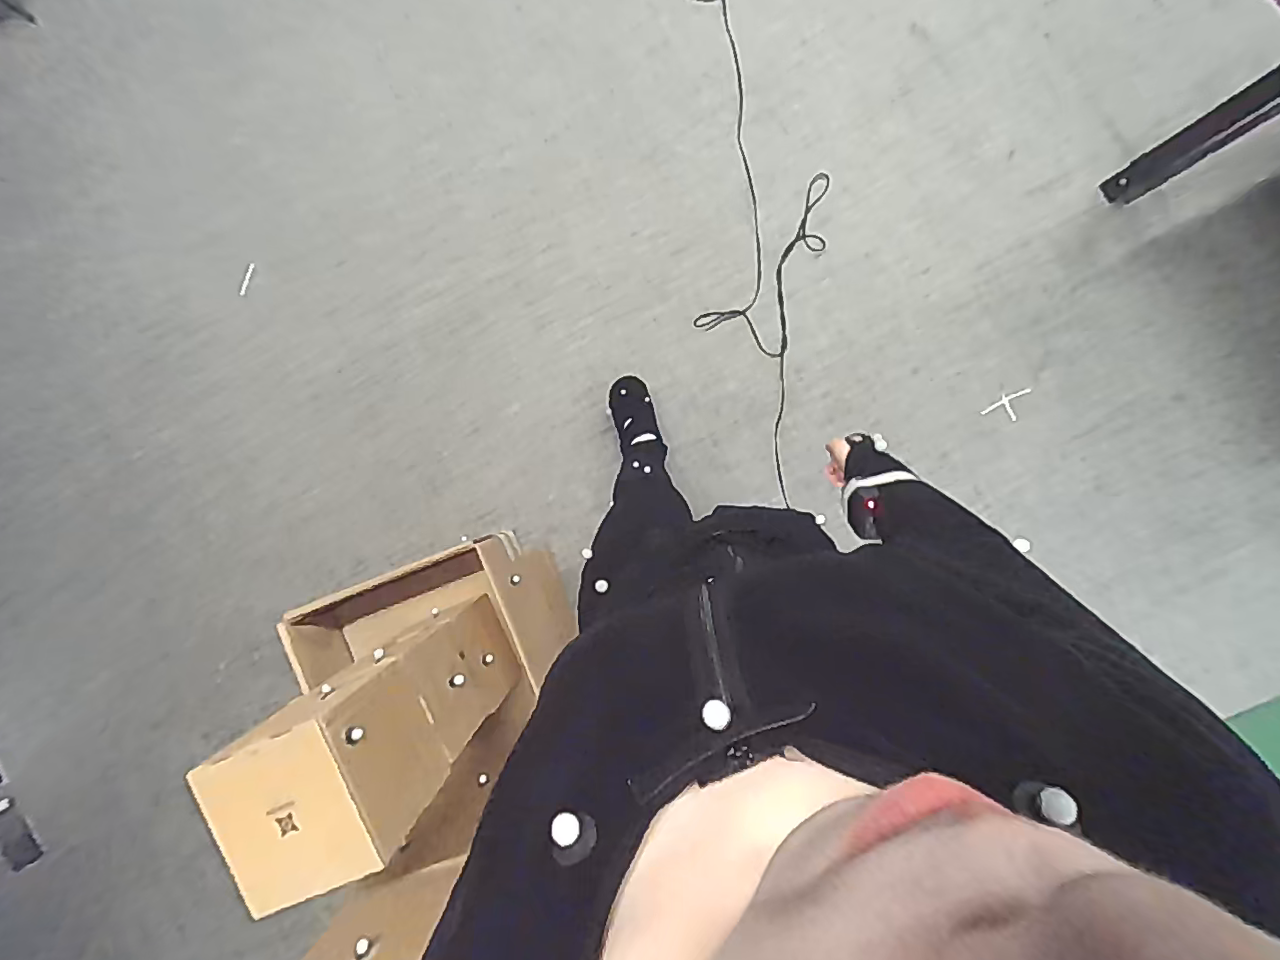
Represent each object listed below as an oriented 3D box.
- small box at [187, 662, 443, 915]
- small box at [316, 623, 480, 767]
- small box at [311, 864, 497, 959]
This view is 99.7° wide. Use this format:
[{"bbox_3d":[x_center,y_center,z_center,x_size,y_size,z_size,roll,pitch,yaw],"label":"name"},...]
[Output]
[{"bbox_3d":[-0.368,0.352,0.648,0.168,0.176,0.179,-24,91,5],"label":"small box"},{"bbox_3d":[-0.361,0.339,0.811,0.179,0.176,0.168,-25,91,4],"label":"small box"},{"bbox_3d":[-0.288,0.610,0.653,0.179,0.176,0.168,-17,90,5],"label":"small box"}]
